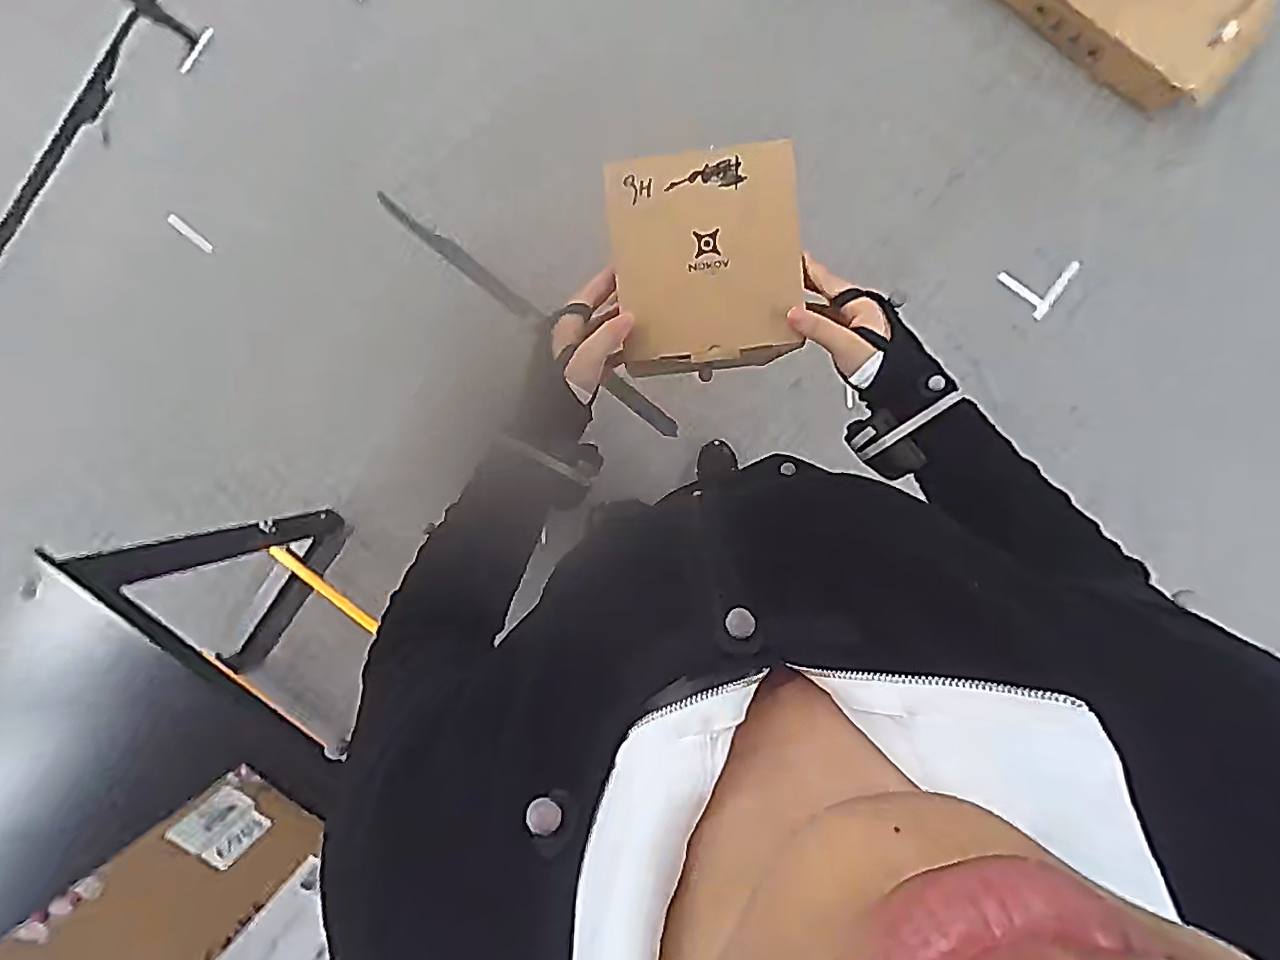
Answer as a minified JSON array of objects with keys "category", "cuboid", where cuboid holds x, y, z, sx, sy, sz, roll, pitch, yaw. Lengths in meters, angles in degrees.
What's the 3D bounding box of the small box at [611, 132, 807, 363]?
[{"category":"small box","cuboid":[0.065,-0.215,0.552,0.168,0.176,0.179,-5,98,2]}]
